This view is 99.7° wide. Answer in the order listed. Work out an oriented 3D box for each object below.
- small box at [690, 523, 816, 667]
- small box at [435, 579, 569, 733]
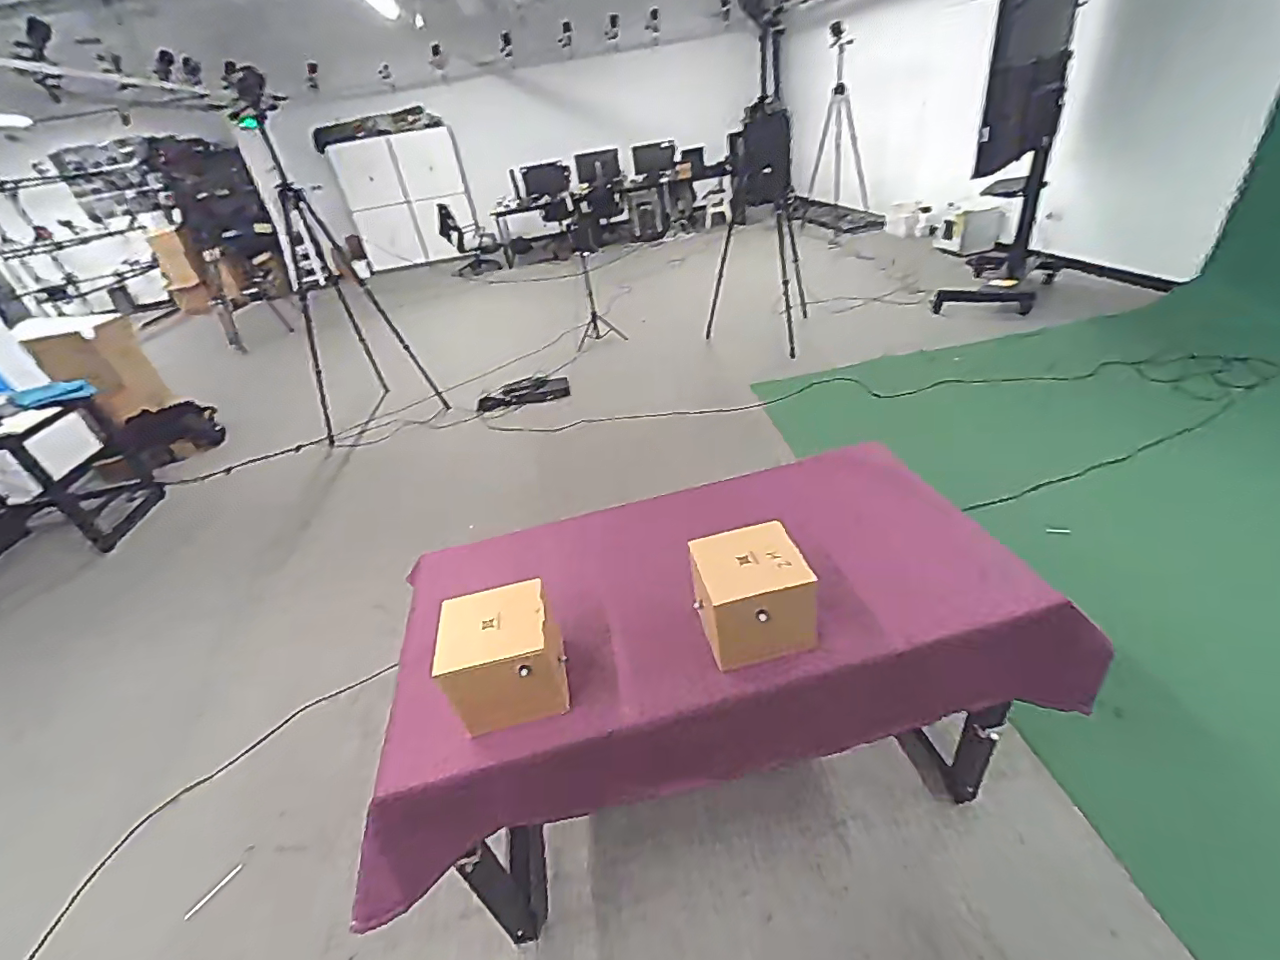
[{"bbox_3d":[0.199,0.206,0.963,0.179,0.176,0.168,-12,34,-4],"label":"small box"},{"bbox_3d":[-0.230,0.303,0.931,0.179,0.176,0.168,-12,33,-6],"label":"small box"}]
